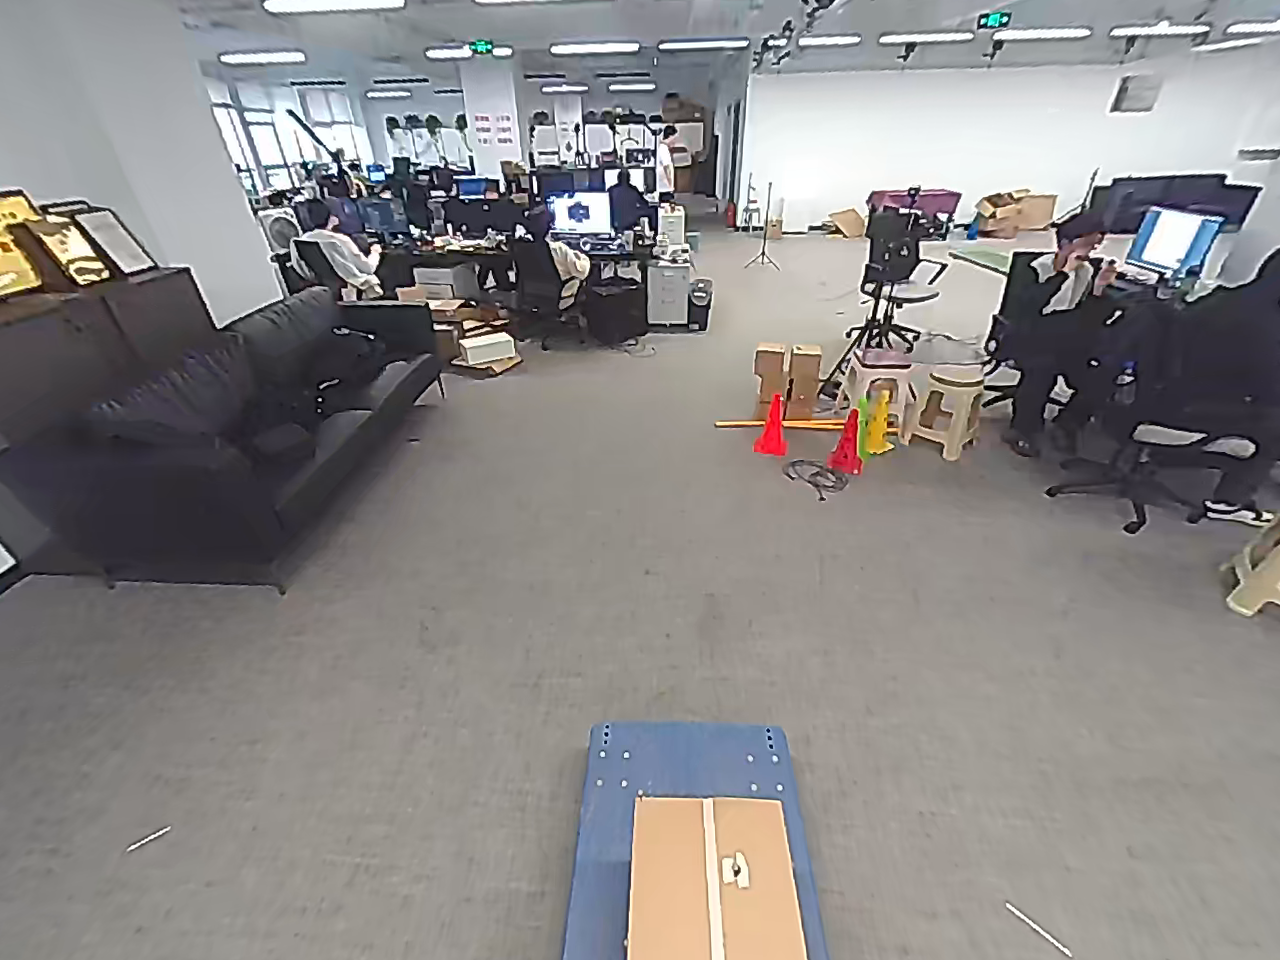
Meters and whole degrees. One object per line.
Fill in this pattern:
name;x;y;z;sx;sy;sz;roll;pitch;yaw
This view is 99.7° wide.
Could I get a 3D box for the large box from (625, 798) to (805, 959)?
large box;0.136;0.917;1.068;0.320;0.320;0.408;0;32;2
